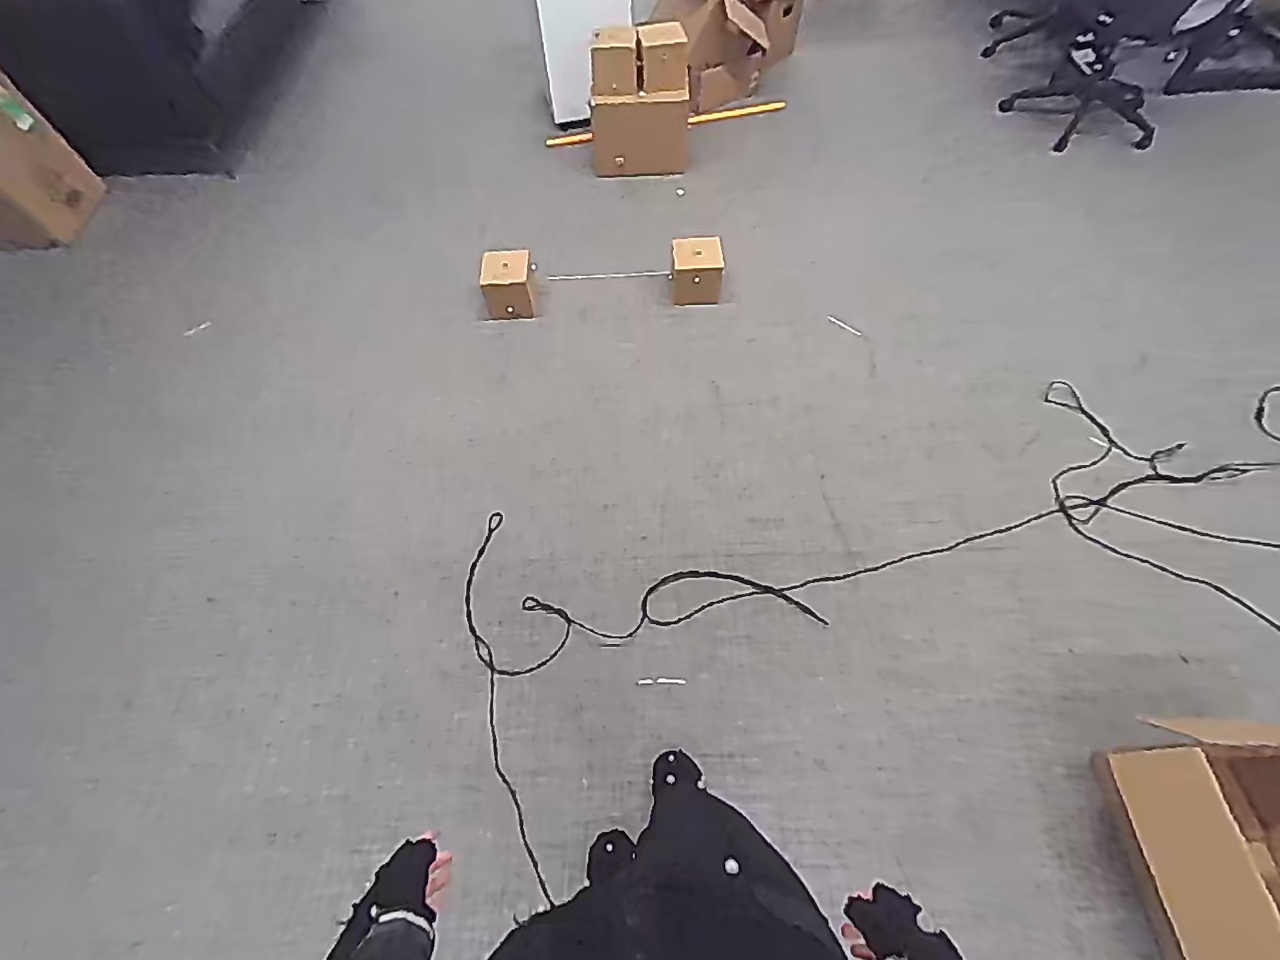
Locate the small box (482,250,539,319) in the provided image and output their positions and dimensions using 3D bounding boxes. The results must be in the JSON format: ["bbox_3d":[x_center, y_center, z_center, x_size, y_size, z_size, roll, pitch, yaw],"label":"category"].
[{"bbox_3d":[-0.468,-0.714,1.979,0.168,0.176,0.179,-3,60,1],"label":"small box"}]

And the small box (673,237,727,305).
[{"bbox_3d":[0.215,-0.762,1.980,0.179,0.176,0.168,-3,61,1],"label":"small box"}]
